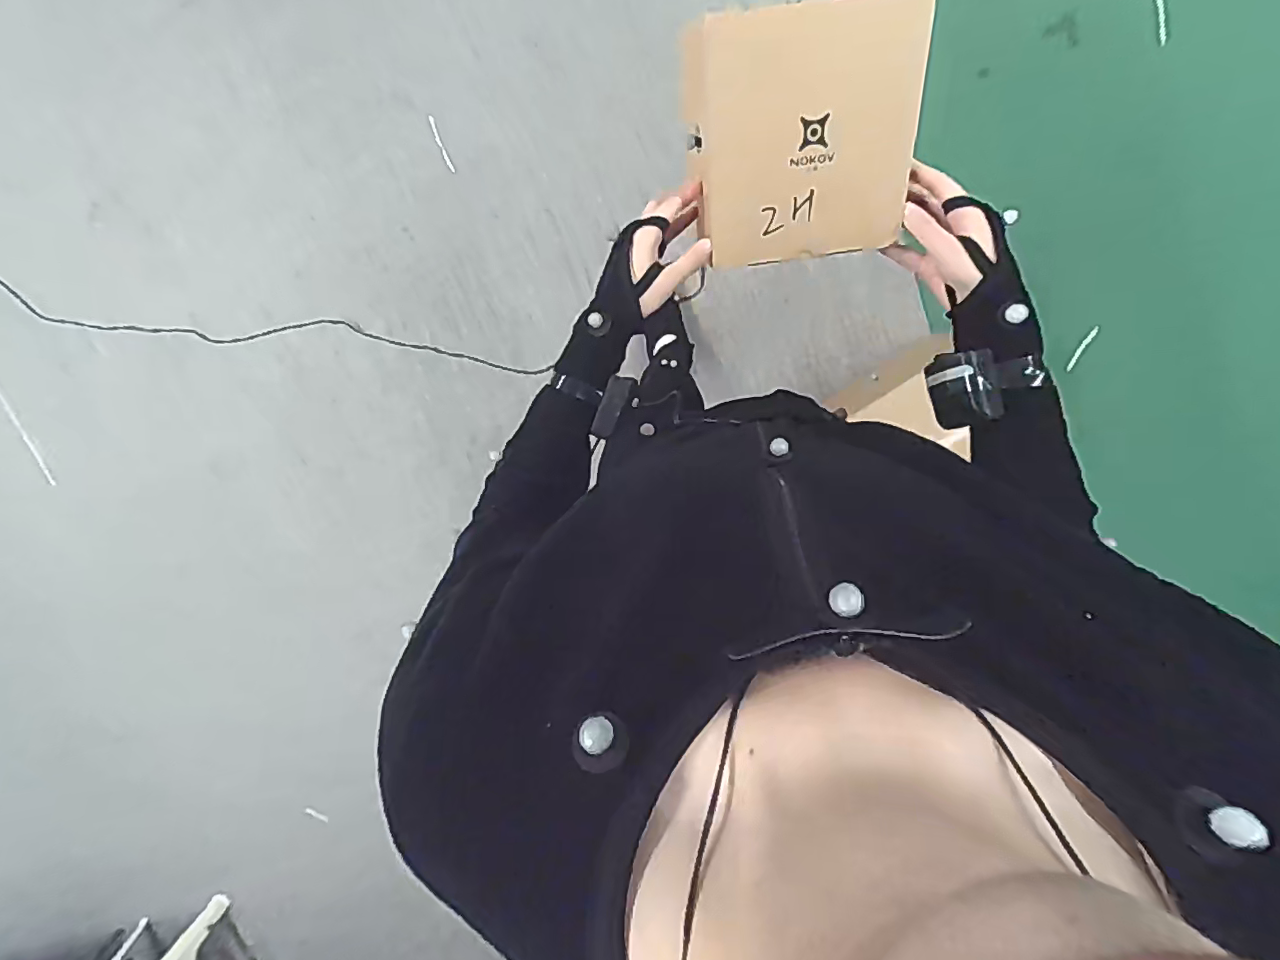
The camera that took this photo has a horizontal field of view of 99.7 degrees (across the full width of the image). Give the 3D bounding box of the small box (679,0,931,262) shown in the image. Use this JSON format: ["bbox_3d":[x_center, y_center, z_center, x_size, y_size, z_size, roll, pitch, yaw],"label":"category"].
[{"bbox_3d":[0.128,-0.315,0.488,0.168,0.176,0.179,-7,125,2],"label":"small box"}]
